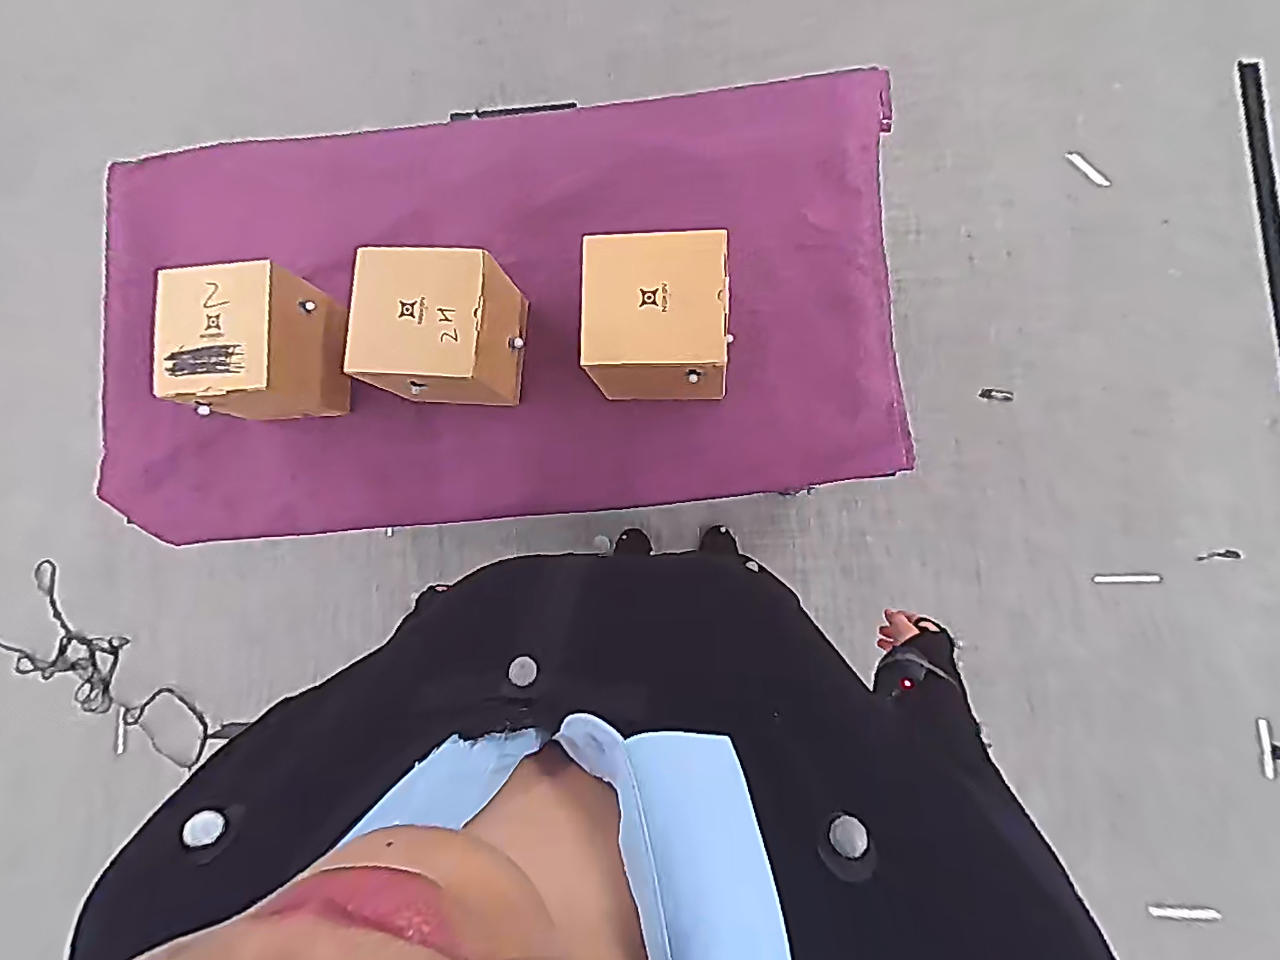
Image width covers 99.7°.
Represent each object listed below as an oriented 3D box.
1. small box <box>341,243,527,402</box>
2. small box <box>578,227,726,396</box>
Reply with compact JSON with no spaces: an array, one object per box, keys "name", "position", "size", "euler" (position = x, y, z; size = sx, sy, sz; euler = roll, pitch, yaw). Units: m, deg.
[{"name":"small box","position":[-0.274,-0.208,0.752],"size":[0.179,0.176,0.168],"euler":[4,86,6]},{"name":"small box","position":[0.024,-0.211,0.720],"size":[0.179,0.176,0.168],"euler":[0,84,6]}]
